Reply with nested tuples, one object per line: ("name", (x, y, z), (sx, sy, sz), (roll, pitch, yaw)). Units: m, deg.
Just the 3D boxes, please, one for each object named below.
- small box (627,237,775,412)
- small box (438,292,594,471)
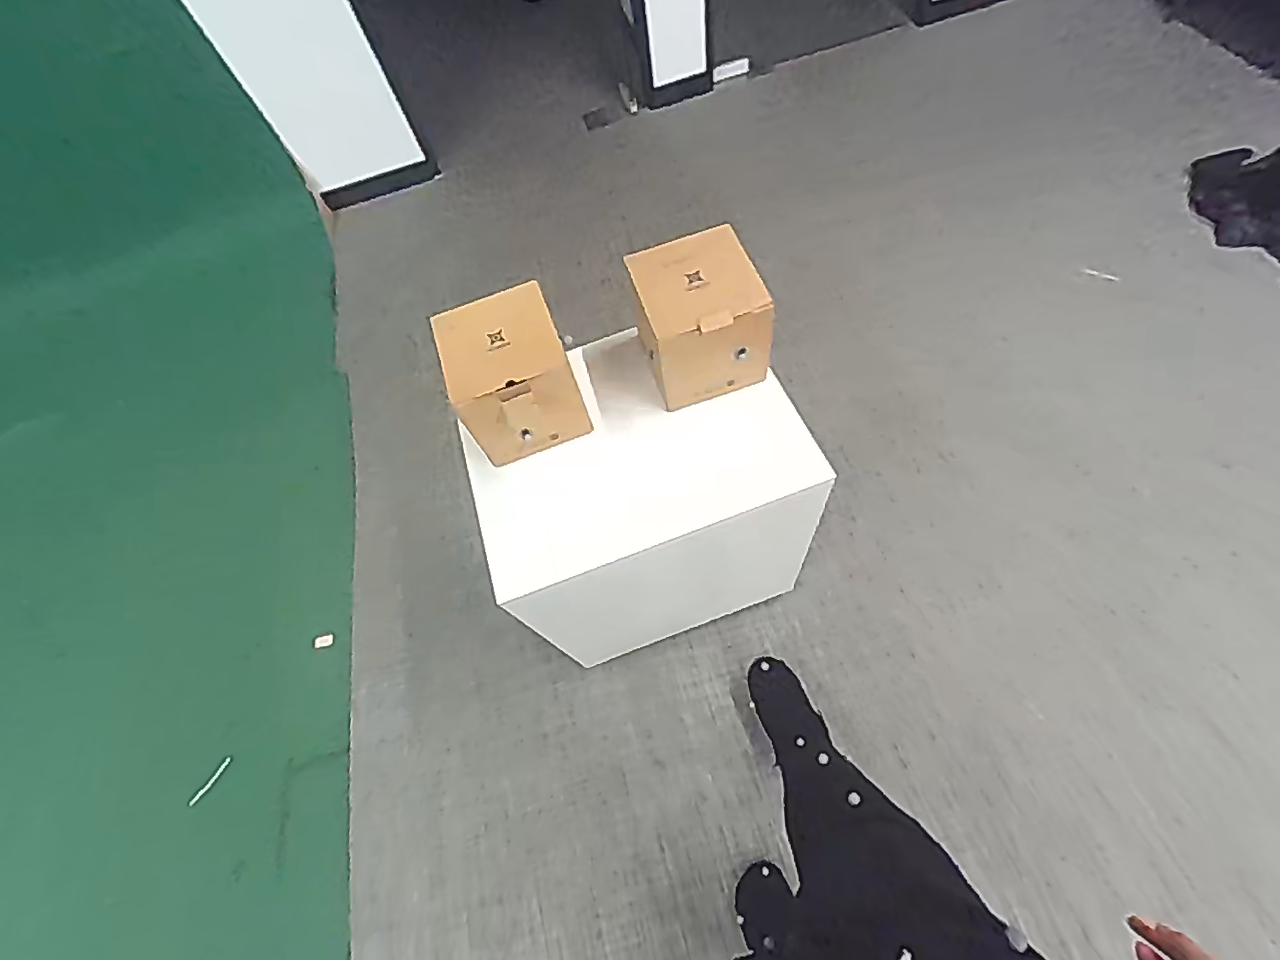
("small box", (0.092, -0.224, 0.820), (0.168, 0.176, 0.179), (-18, 60, -1))
("small box", (-0.181, -0.143, 0.819), (0.168, 0.176, 0.179), (-21, 62, -3))
